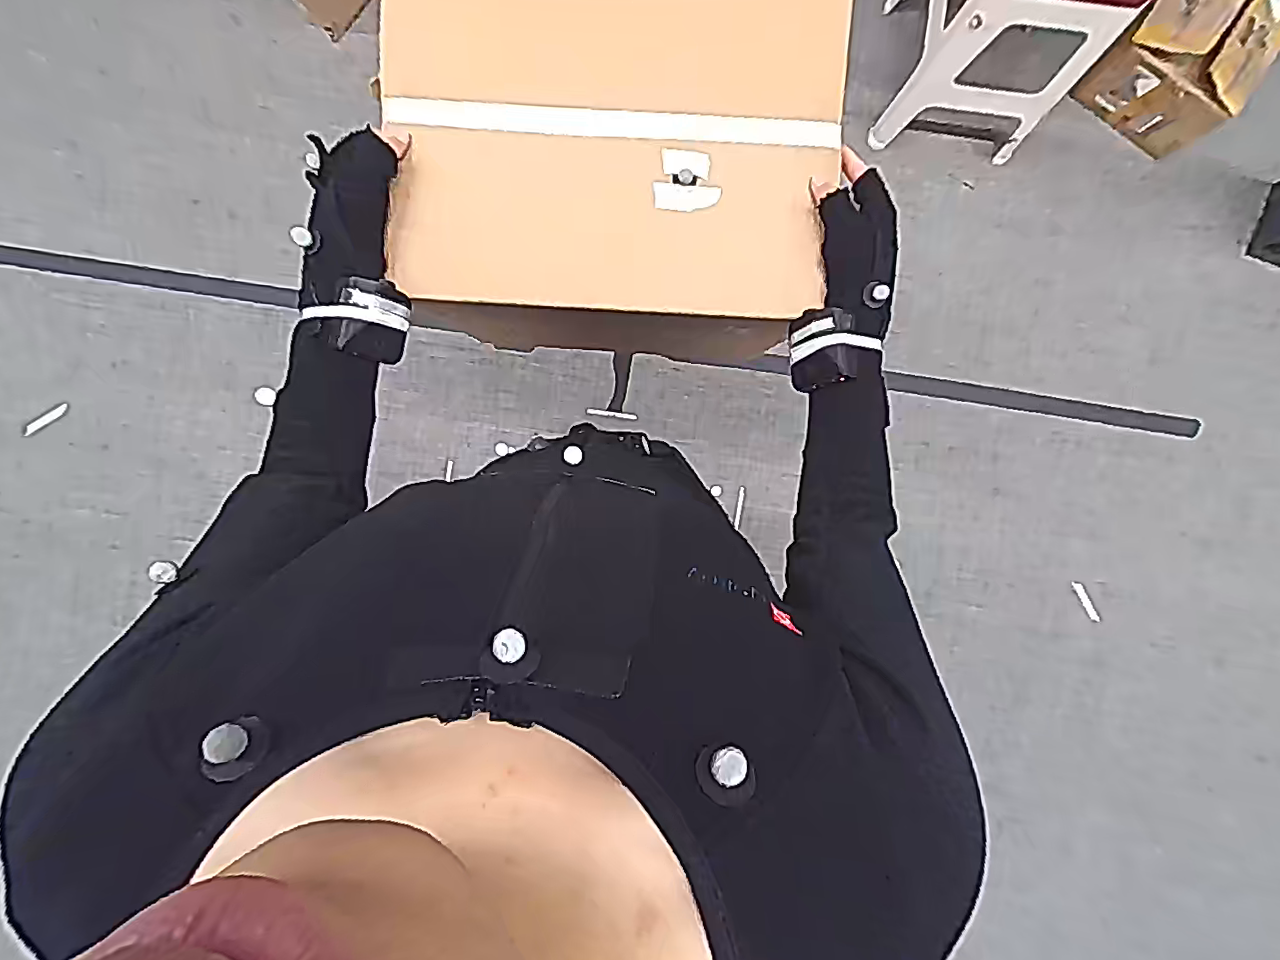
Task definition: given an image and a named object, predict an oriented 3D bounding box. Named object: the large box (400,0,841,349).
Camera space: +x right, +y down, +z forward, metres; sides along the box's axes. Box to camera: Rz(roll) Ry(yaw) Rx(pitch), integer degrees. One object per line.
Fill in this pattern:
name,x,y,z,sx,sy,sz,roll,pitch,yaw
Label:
large box,-0.025,-0.338,0.646,0.408,0.320,0.320,3,97,-2
